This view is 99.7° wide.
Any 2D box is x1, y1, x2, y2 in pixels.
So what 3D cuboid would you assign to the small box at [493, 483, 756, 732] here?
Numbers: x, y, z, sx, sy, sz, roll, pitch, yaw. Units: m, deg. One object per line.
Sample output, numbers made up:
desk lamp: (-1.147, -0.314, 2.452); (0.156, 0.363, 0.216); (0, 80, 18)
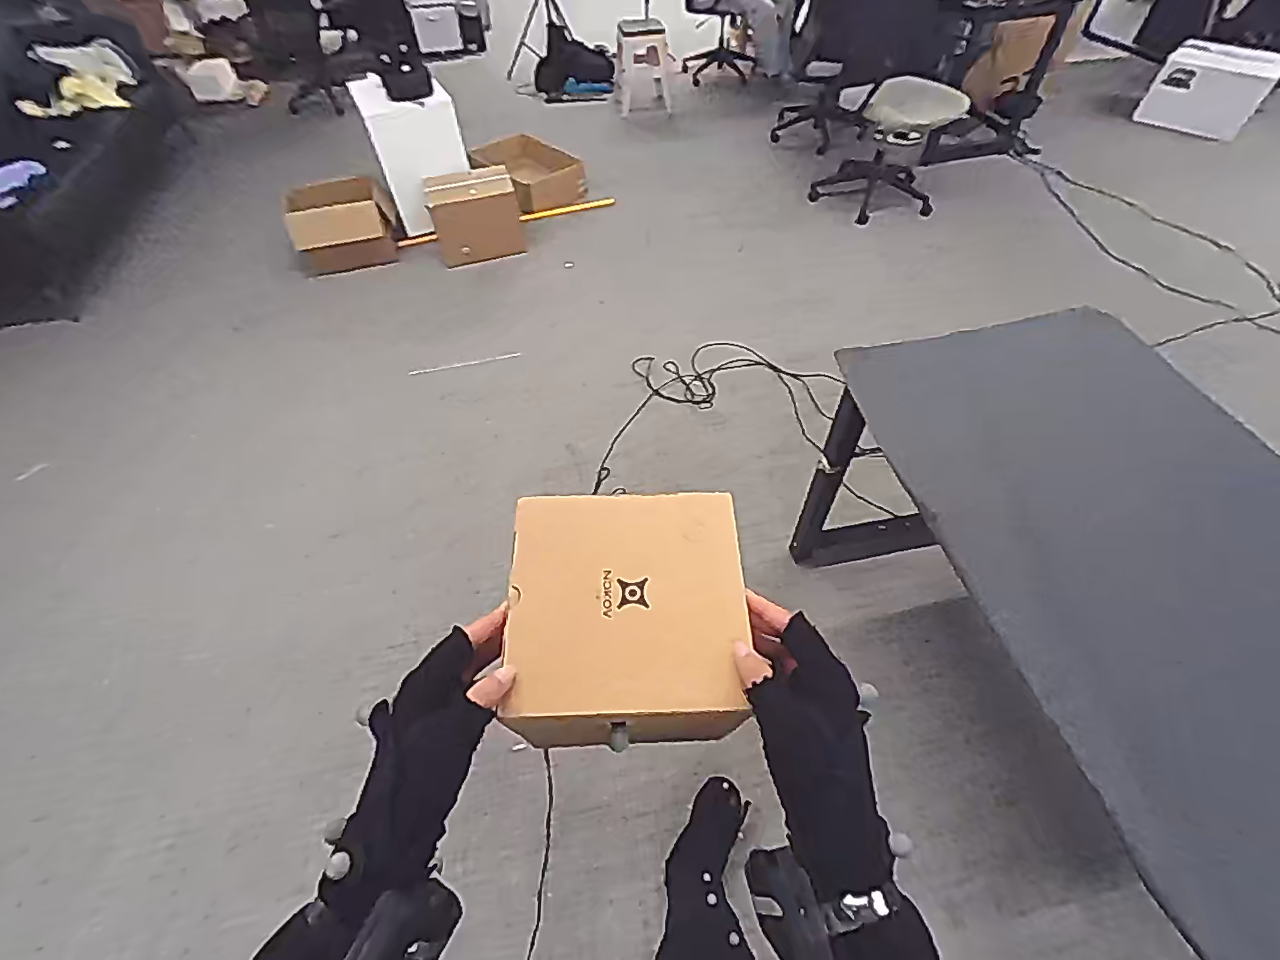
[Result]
small box: (-0.012, 0.115, 0.462); (0.179, 0.176, 0.168); (-1, 58, -1)
